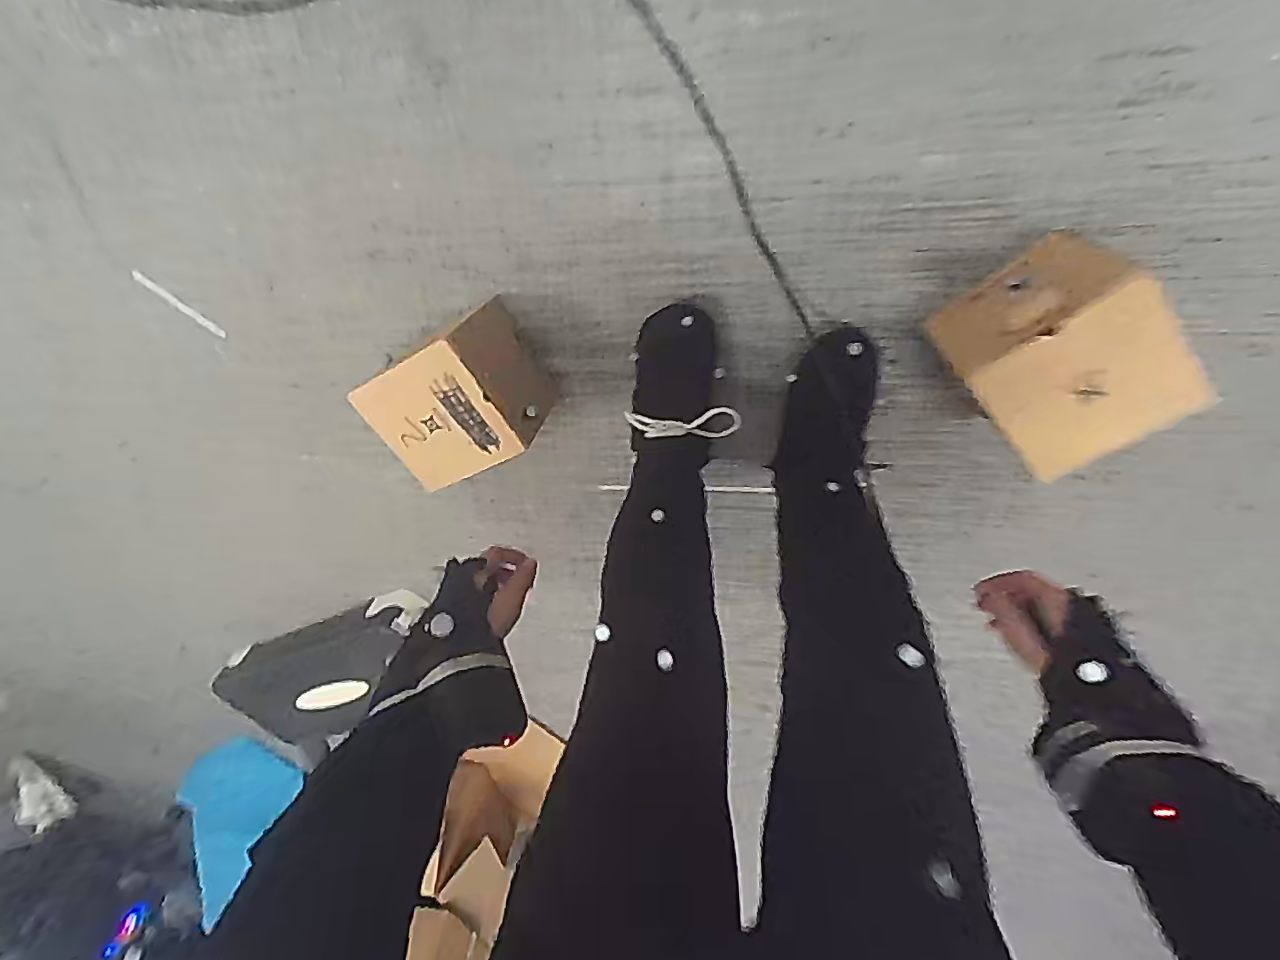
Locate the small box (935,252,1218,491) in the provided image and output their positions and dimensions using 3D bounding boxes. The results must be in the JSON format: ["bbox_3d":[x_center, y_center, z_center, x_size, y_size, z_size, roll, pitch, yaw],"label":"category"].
[{"bbox_3d":[0.475,-0.126,0.615,0.168,0.176,0.179,-36,111,29],"label":"small box"}]
